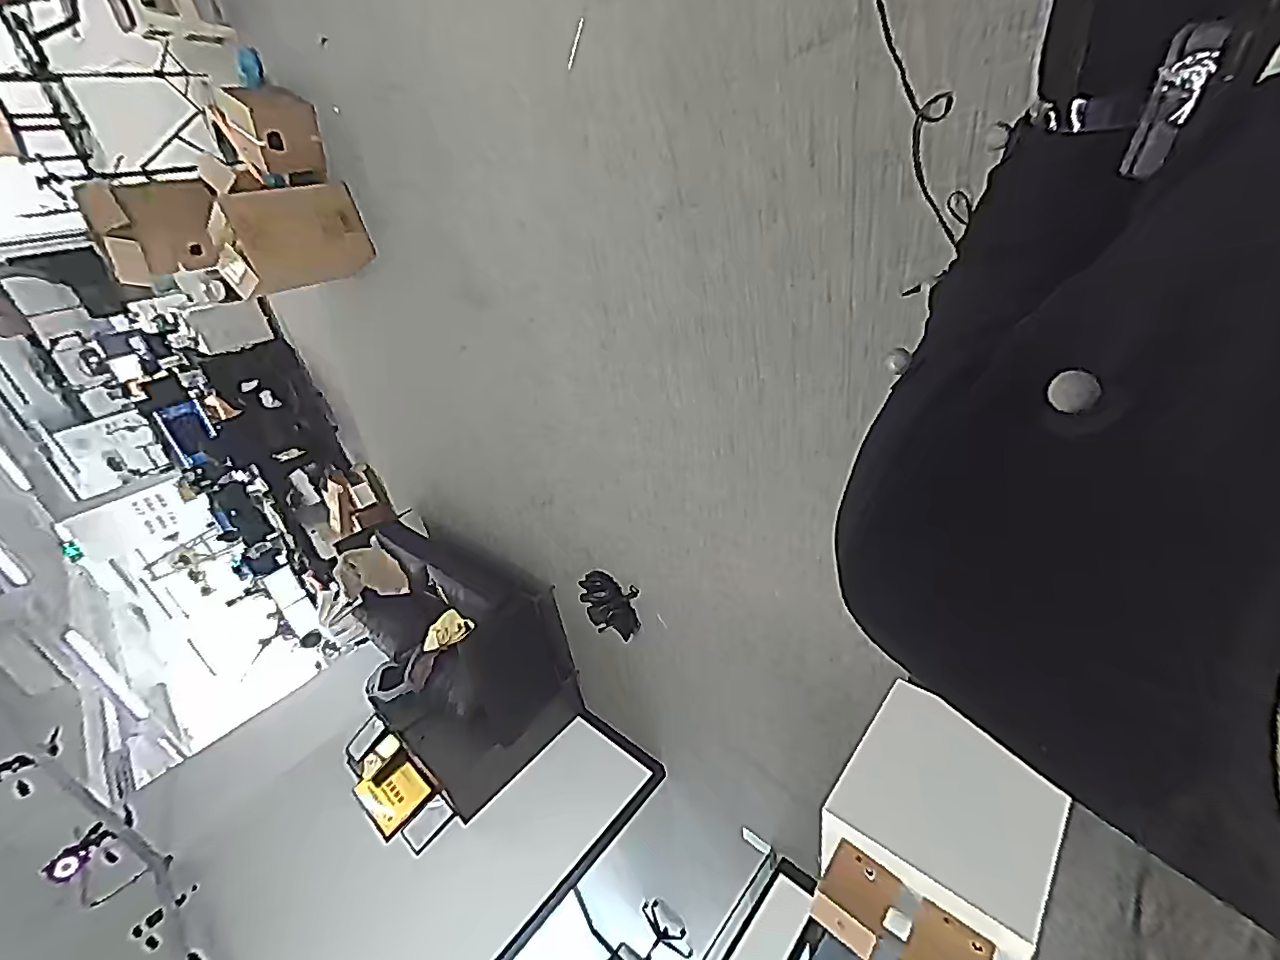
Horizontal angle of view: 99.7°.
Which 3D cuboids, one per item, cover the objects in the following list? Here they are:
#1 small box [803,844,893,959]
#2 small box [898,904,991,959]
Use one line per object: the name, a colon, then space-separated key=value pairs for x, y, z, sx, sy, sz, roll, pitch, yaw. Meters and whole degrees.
small box: x=0.560 y=1.142 z=1.456 sx=0.168 sy=0.176 sz=0.179 roll=22 pitch=130 yaw=37
small box: x=0.737 y=1.203 z=1.323 sx=0.168 sy=0.176 sz=0.179 roll=17 pitch=129 yaw=42
